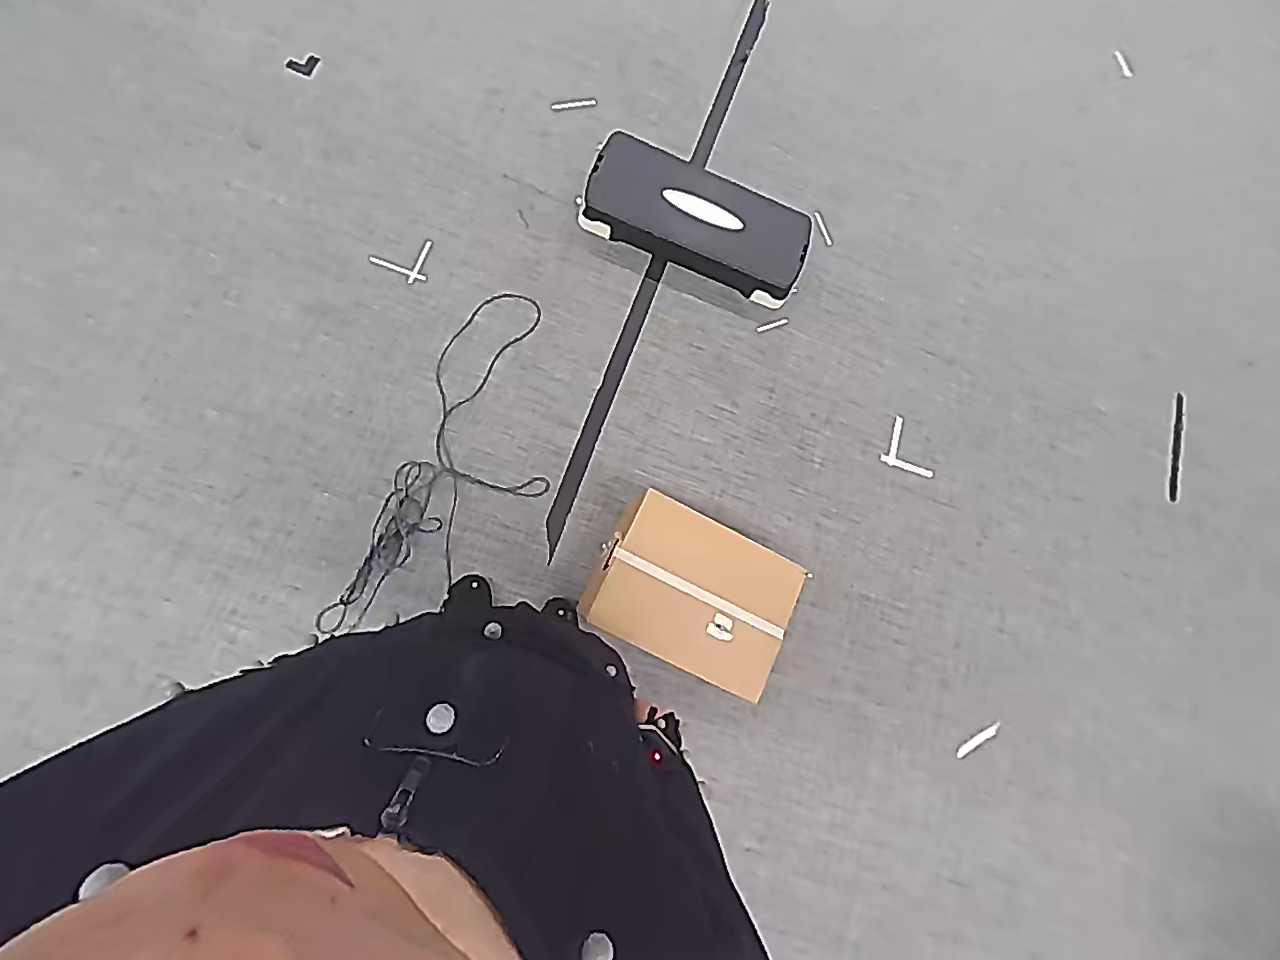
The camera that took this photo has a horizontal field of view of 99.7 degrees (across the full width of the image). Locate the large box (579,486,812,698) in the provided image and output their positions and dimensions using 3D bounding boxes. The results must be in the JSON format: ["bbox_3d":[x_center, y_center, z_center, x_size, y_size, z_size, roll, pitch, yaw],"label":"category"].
[{"bbox_3d":[0.110,0.256,1.269,0.408,0.320,0.320,28,77,-6],"label":"large box"}]
